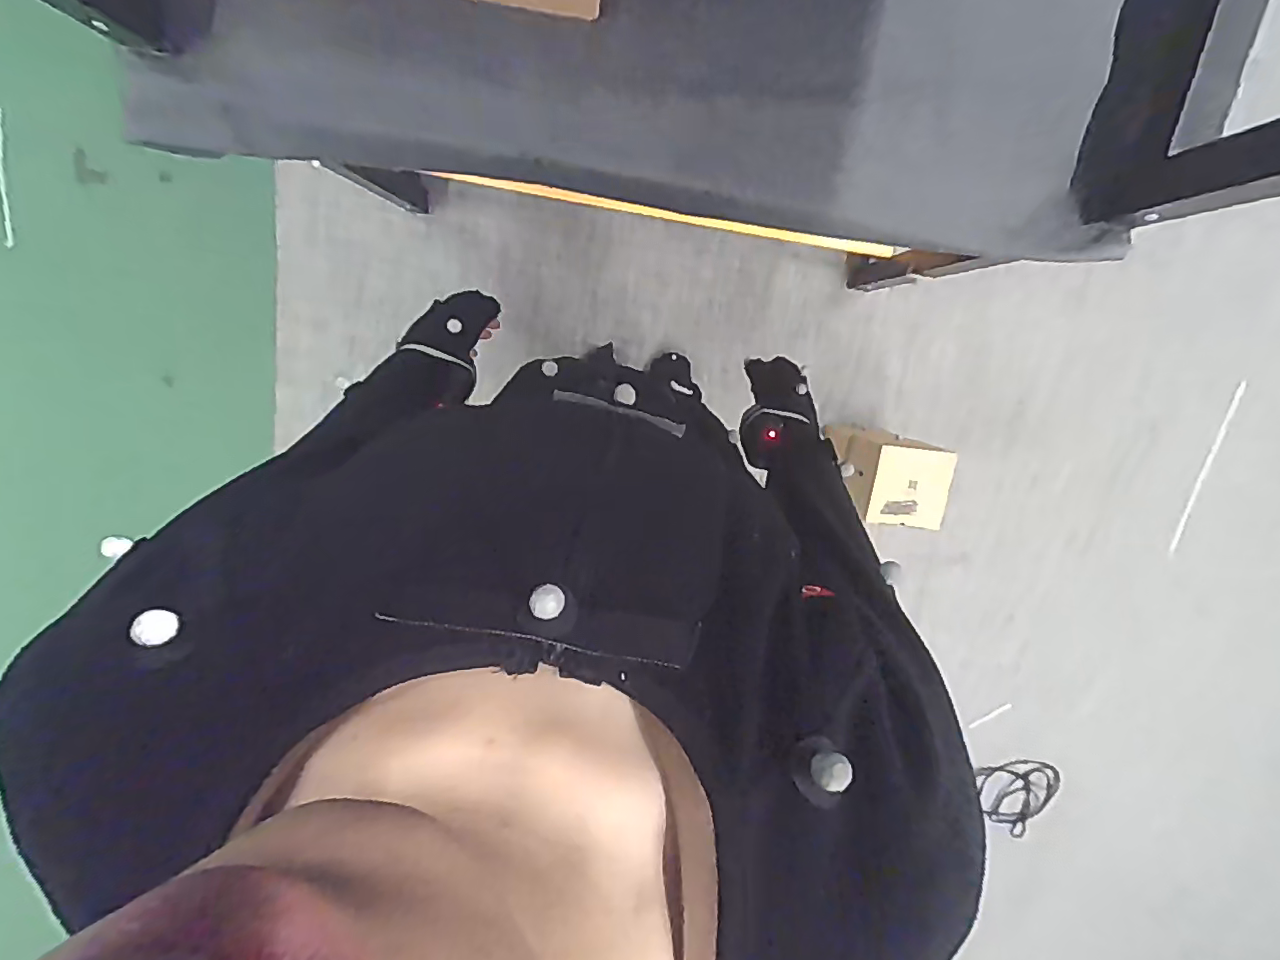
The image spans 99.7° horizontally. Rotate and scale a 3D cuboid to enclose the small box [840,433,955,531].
[{"bbox_3d":[0.575,-0.001,1.236,0.168,0.176,0.179,7,103,-1],"label":"small box"}]
